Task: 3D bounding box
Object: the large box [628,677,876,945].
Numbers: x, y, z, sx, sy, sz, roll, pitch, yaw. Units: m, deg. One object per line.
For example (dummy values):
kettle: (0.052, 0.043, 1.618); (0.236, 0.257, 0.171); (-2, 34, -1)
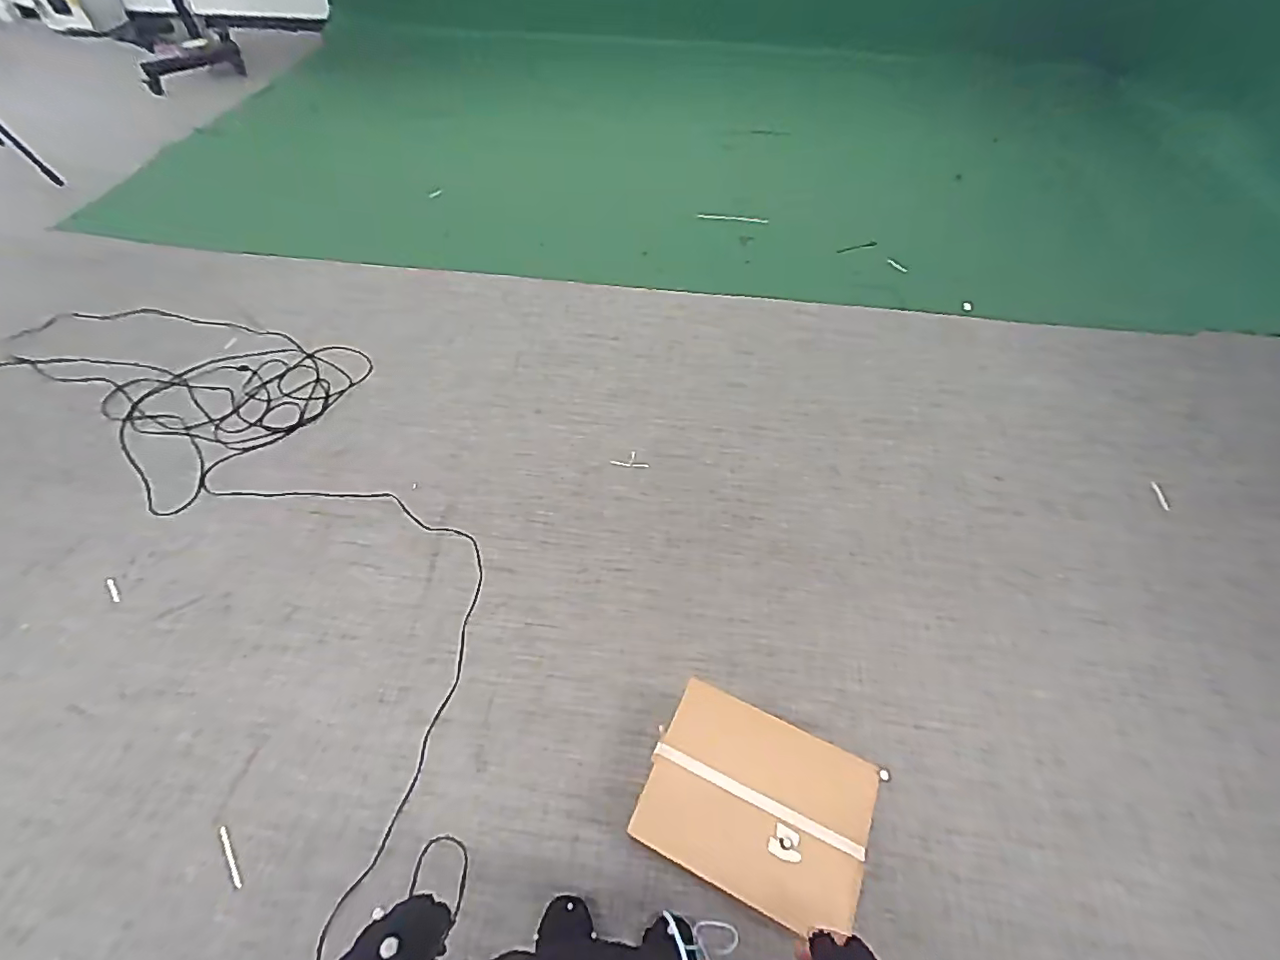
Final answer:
large box: (0.217, 0.684, 1.143); (0.408, 0.320, 0.320); (22, 57, 13)
